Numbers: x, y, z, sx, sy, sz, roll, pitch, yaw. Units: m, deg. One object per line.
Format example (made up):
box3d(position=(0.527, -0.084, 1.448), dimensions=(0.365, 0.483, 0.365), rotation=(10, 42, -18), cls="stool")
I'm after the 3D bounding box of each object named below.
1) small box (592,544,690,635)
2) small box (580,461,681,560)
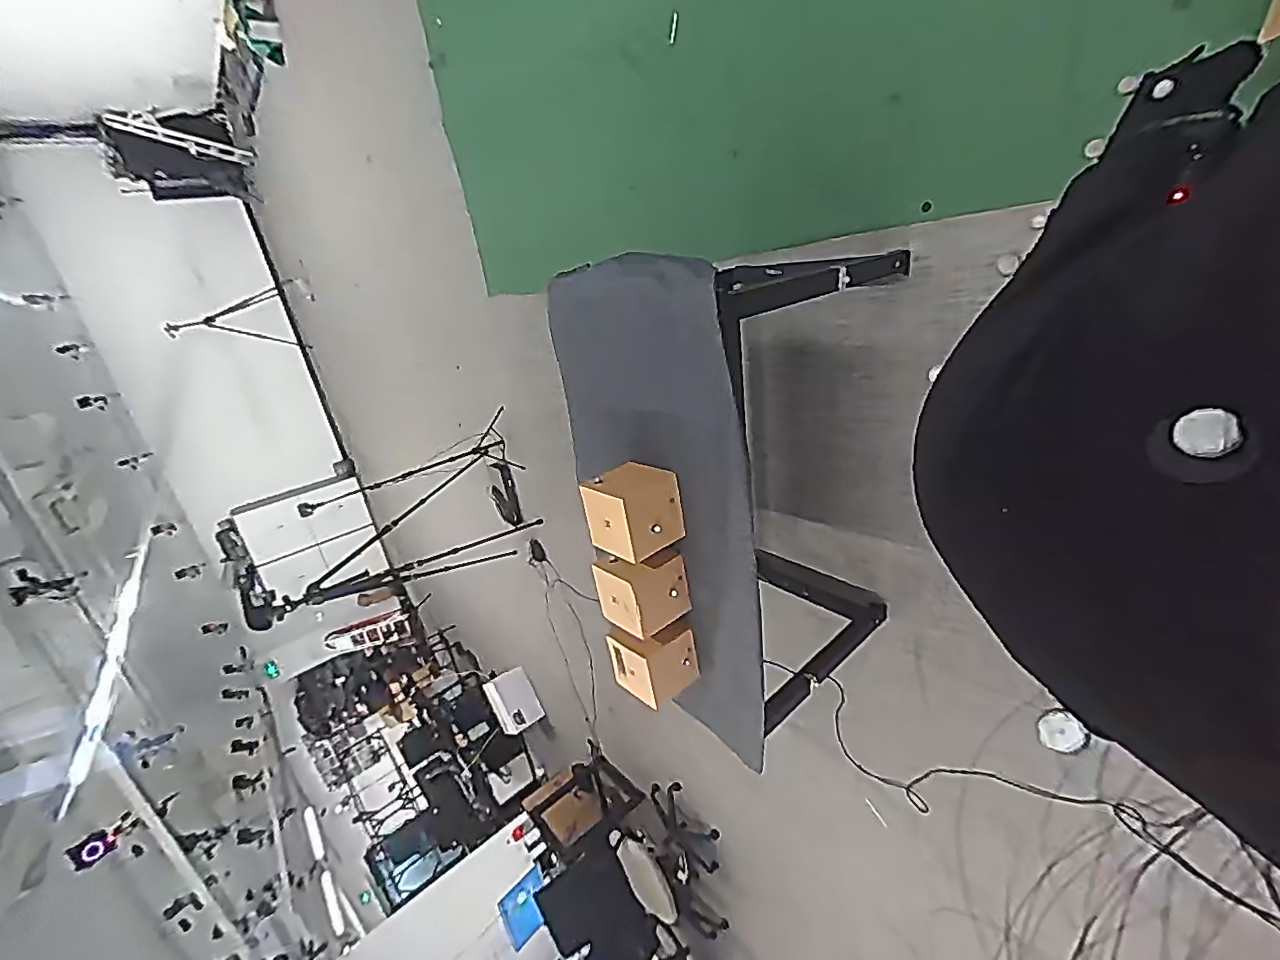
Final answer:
box3d(position=(0.005, 0.266, 1.402), dimensions=(0.179, 0.176, 0.168), rotation=(14, 122, 50), cls="small box")
box3d(position=(-0.015, 0.065, 1.304), dimensions=(0.179, 0.176, 0.168), rotation=(15, 123, 50), cls="small box")
